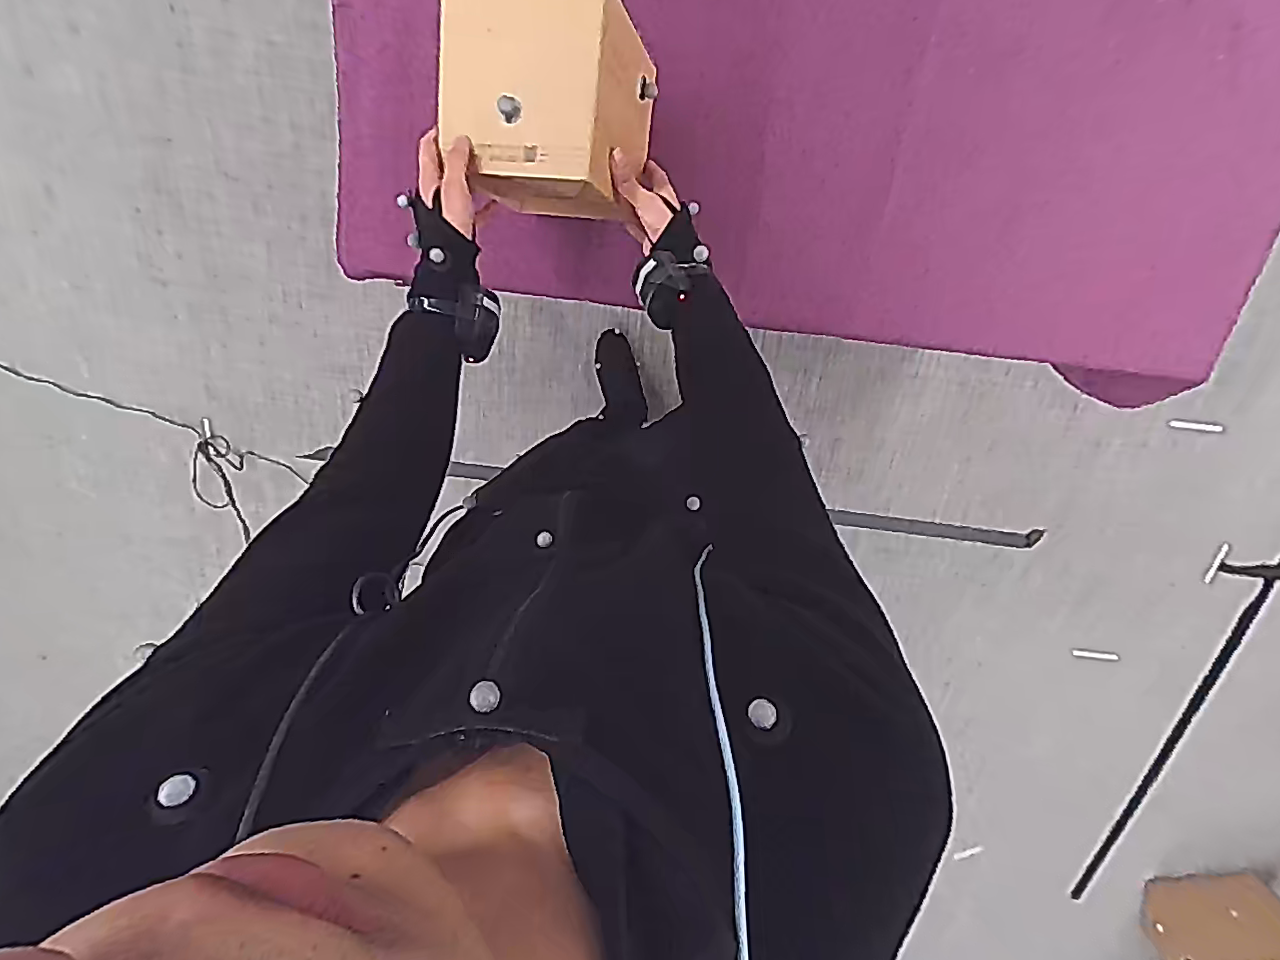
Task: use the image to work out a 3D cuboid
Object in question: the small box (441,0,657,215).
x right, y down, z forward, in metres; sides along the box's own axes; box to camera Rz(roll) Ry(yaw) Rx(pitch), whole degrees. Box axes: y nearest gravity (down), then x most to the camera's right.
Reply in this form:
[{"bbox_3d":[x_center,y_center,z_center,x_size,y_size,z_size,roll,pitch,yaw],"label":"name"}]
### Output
[{"bbox_3d":[-0.094,-0.387,0.573,0.168,0.179,0.176,12,106,16],"label":"small box"}]
